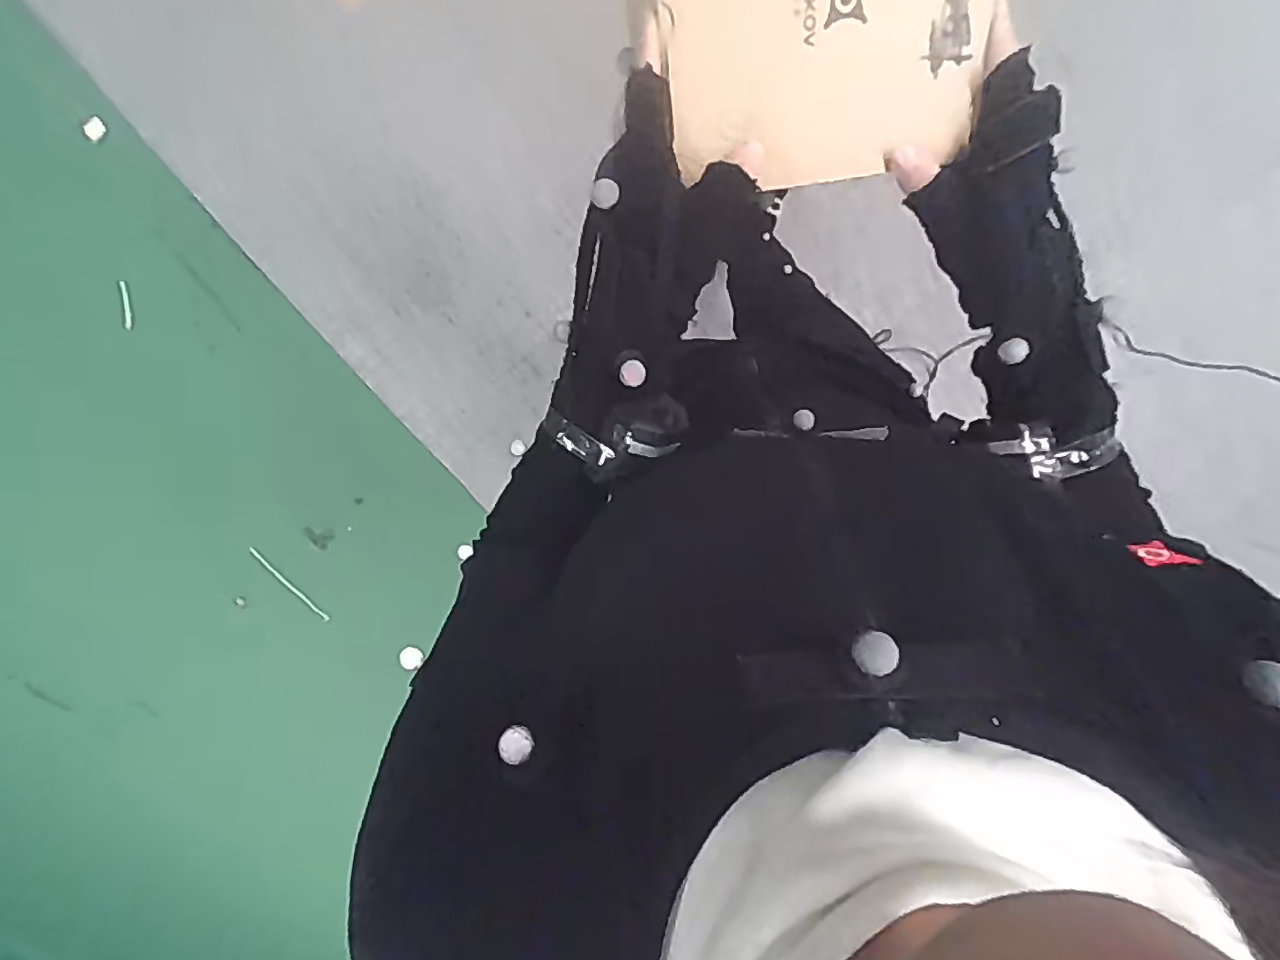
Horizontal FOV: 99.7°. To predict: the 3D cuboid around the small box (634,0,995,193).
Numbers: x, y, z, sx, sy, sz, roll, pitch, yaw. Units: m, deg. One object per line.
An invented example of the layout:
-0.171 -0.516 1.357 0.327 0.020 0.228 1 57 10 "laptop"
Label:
0.090 -0.291 0.344 0.179 0.176 0.168 -11 115 1 "small box"
